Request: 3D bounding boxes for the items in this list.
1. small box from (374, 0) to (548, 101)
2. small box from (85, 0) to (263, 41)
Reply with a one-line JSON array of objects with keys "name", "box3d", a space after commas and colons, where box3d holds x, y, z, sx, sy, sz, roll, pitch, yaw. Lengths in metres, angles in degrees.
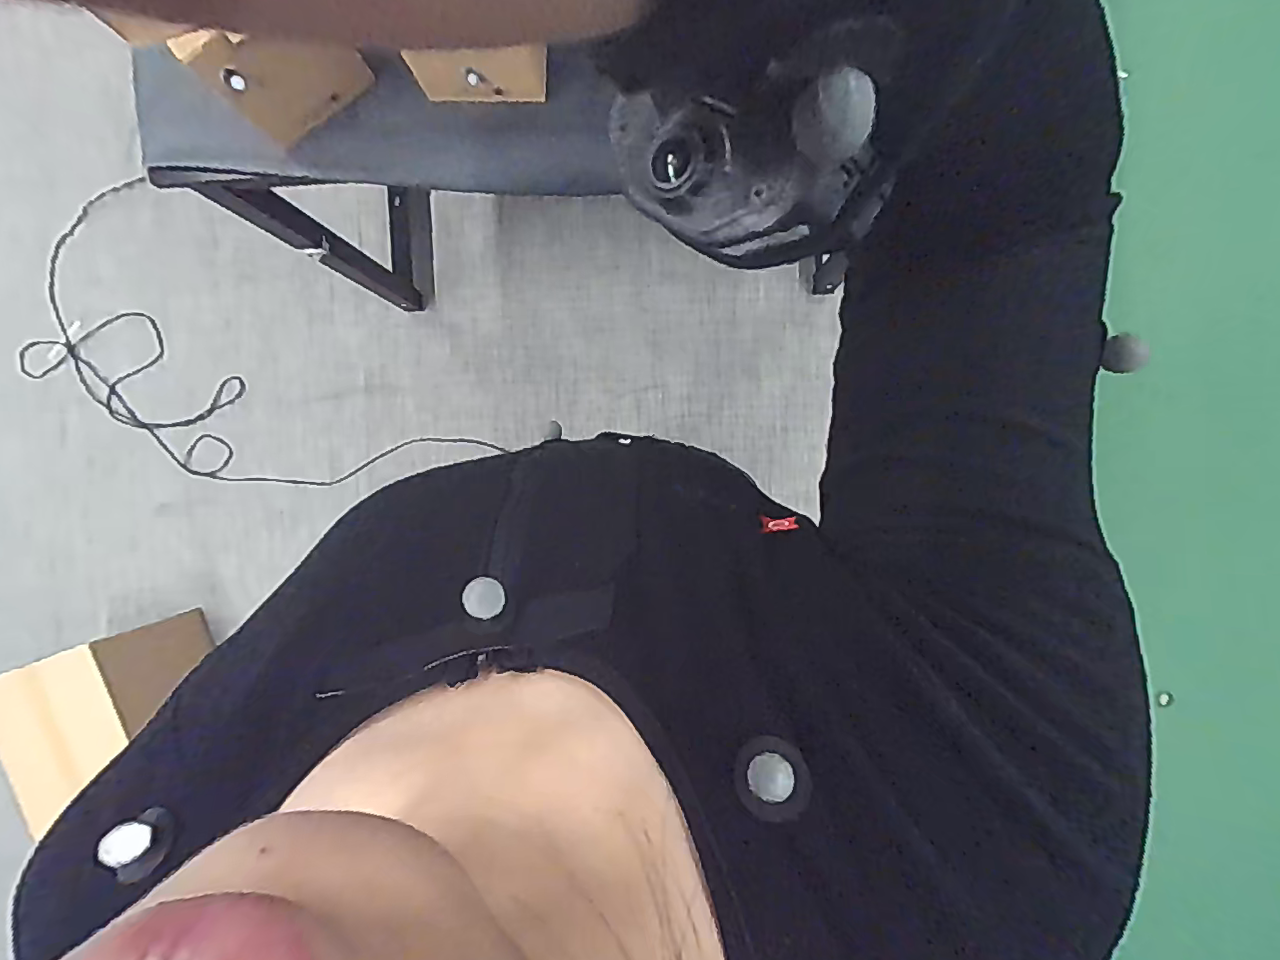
[{"name": "small box", "box3d": [-0.213, -0.613, 0.667, 0.168, 0.176, 0.179, 2, 91, 3]}, {"name": "small box", "box3d": [-0.504, -0.578, 0.518, 0.179, 0.176, 0.168, -15, 91, 4]}]
